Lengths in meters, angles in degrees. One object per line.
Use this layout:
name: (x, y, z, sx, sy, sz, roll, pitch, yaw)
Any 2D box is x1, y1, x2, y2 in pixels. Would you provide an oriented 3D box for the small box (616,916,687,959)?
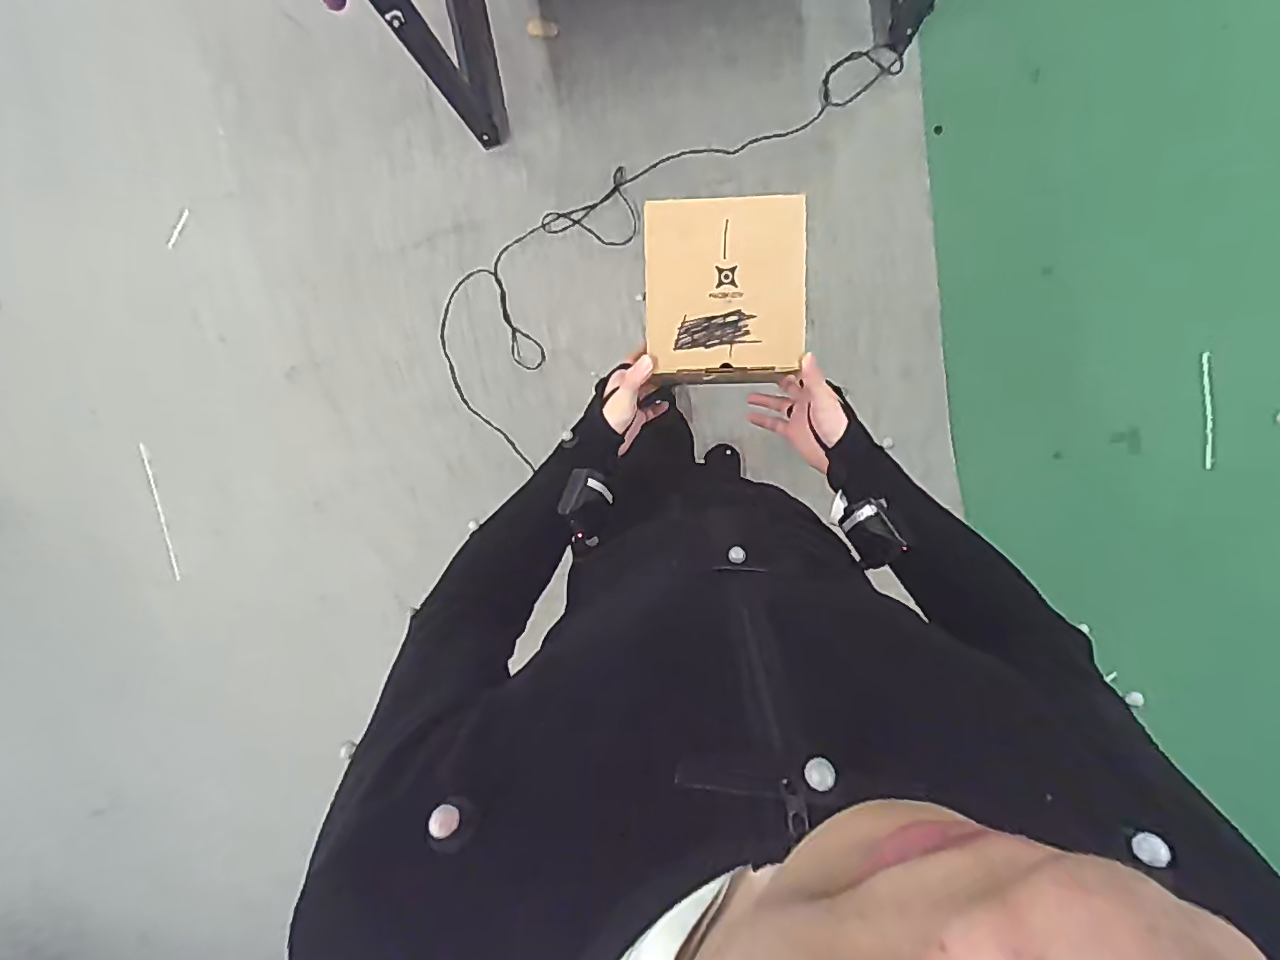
small box: (0.029, 1.208, 1.303, 0.168, 0.176, 0.179, -2, 96, 4)

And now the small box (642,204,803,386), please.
small box: (0.089, -0.203, 0.642, 0.168, 0.176, 0.179, -2, 96, 1)
